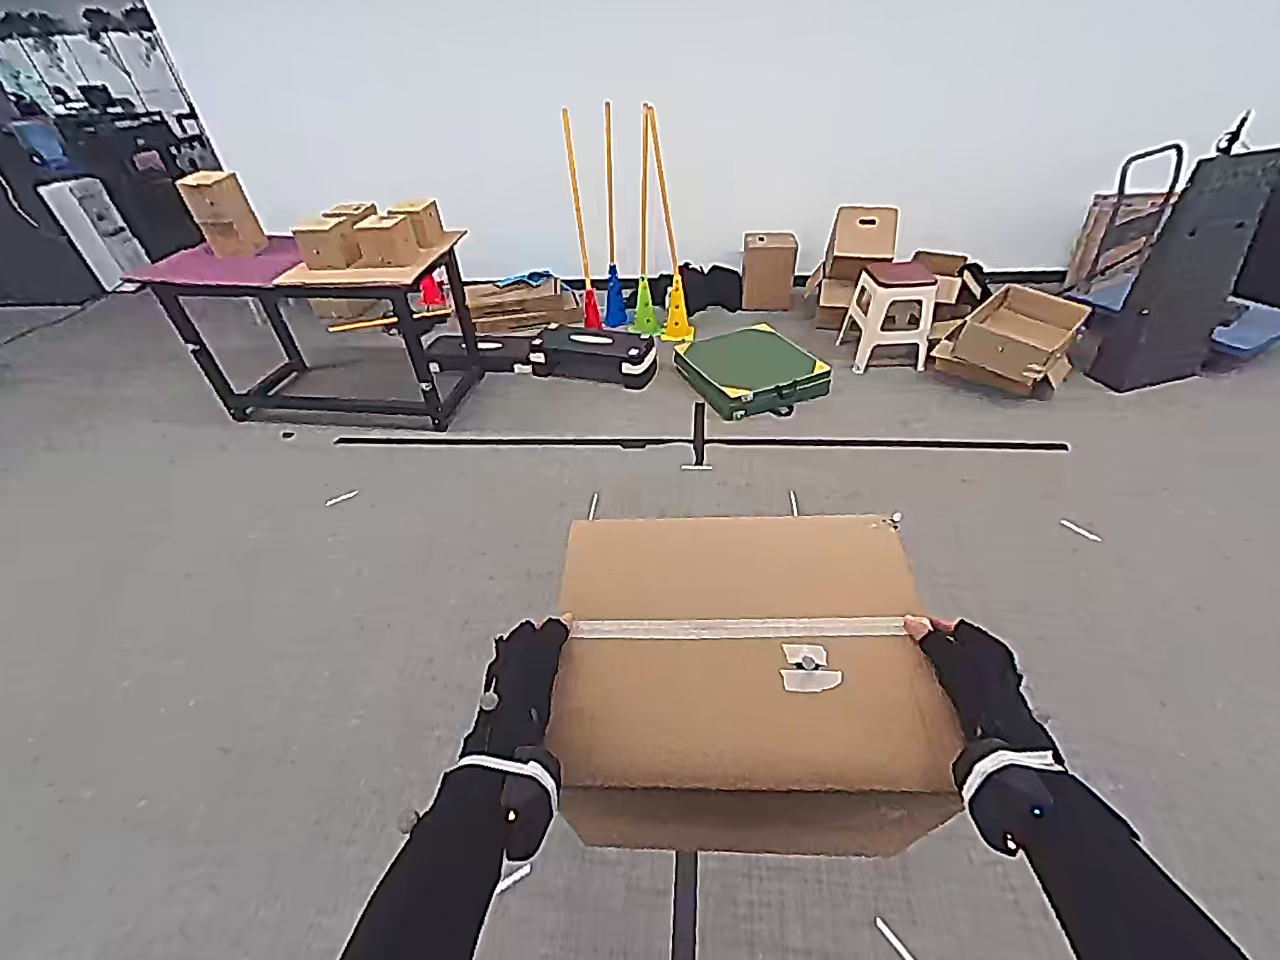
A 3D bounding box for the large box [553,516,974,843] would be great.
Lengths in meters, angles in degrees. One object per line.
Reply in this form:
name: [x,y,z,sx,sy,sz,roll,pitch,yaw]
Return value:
large box: [0.122,0.267,0.714,0.408,0.320,0.320,-2,47,4]
